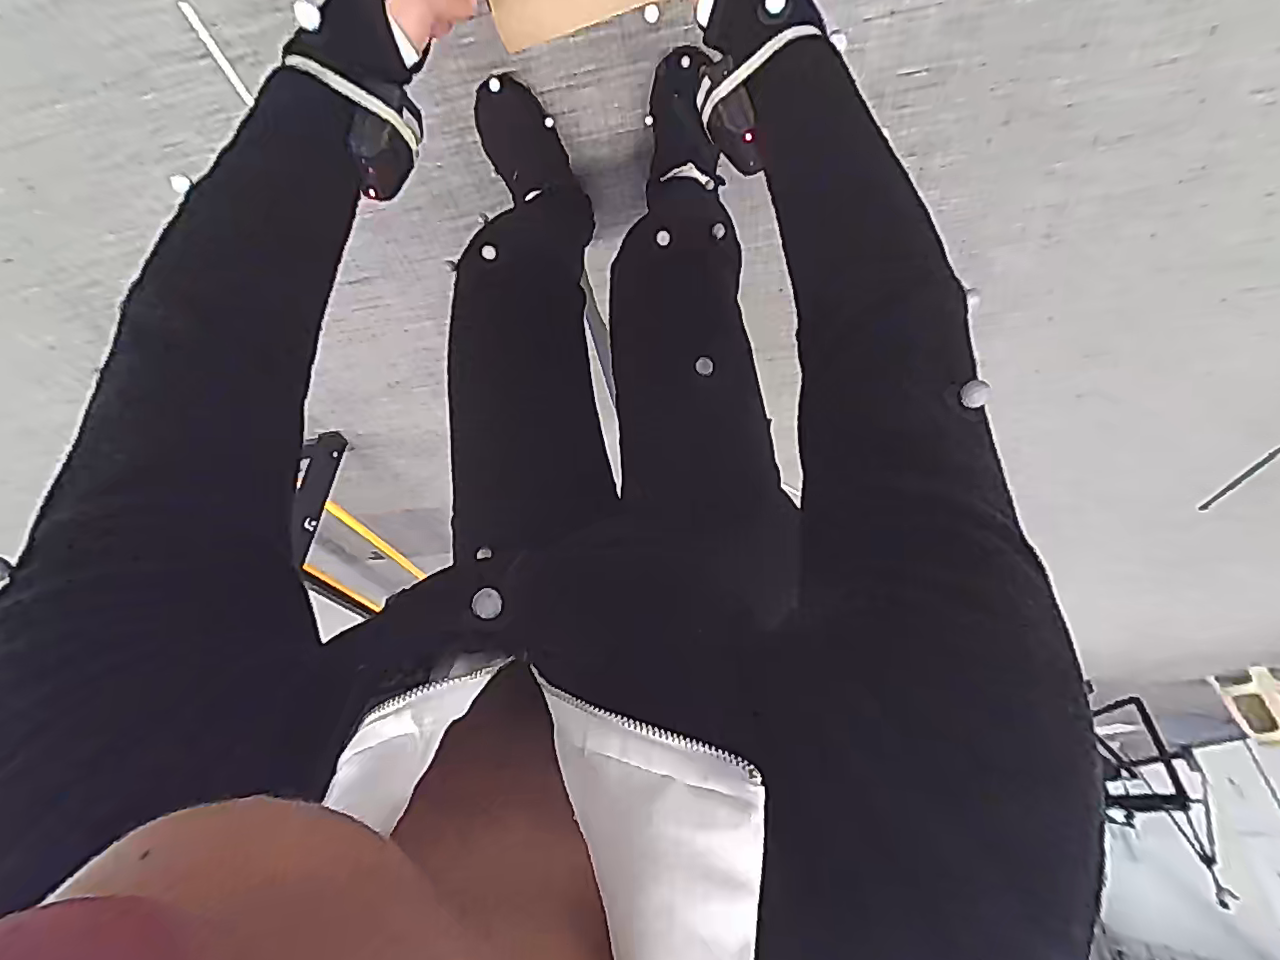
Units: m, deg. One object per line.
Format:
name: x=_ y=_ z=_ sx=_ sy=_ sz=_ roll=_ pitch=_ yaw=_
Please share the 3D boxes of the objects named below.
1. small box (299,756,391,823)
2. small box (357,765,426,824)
small box: x=-0.891 y=0.950 z=1.657 sx=0.179 sy=0.176 sz=0.168 roll=-6 pitch=146 yaw=8
small box: x=-0.858 y=1.076 z=1.850 sx=0.168 sy=0.176 sz=0.179 roll=-6 pitch=146 yaw=8
